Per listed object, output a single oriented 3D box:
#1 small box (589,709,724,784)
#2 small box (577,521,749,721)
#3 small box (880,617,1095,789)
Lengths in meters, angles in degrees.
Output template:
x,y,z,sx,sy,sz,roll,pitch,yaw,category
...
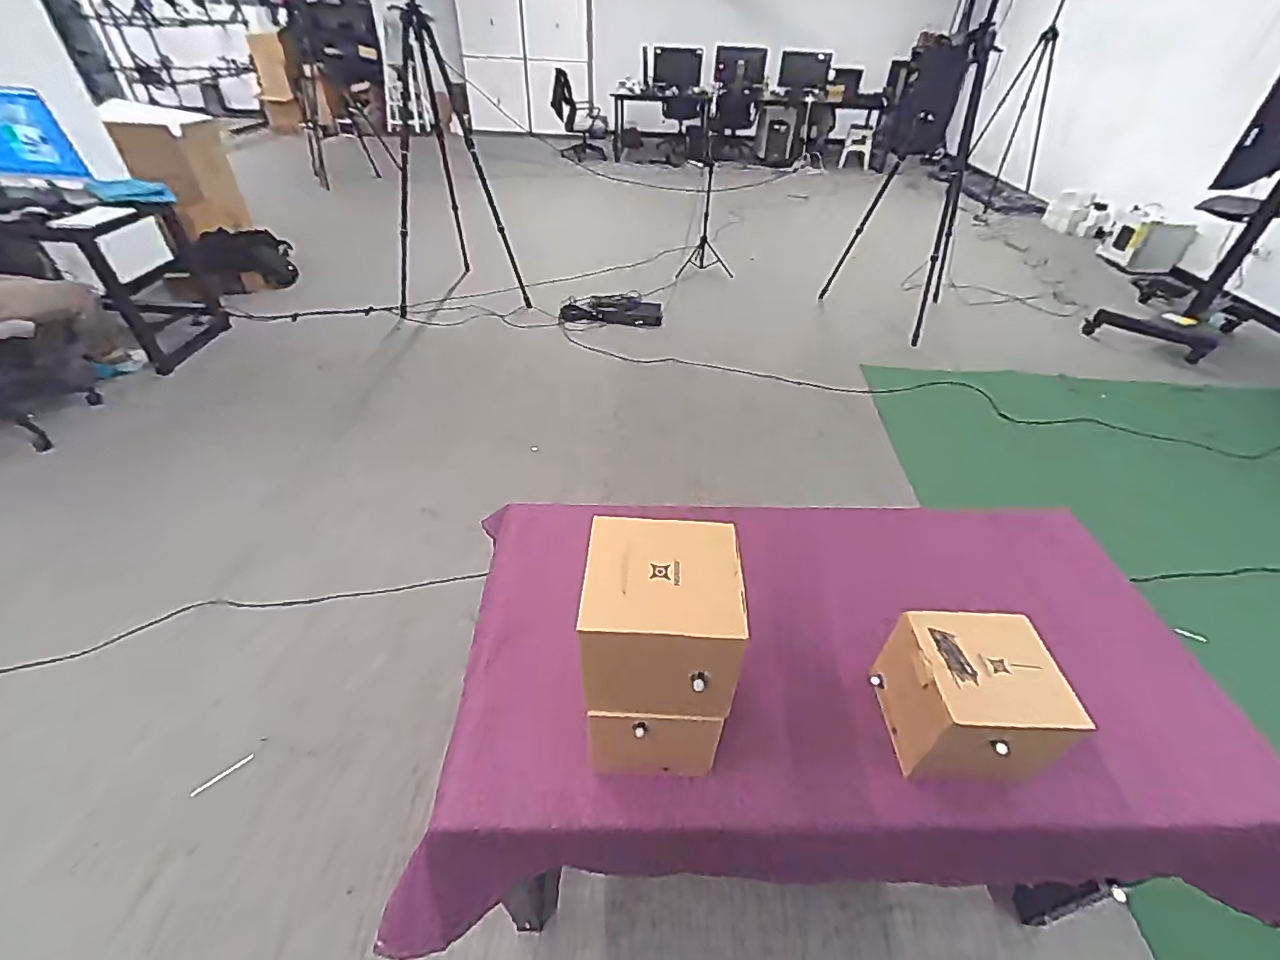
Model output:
x,y,z,sx,sy,sz,roll,pitch,yaw,category
0.021,0.295,0.756,0.168,0.176,0.179,2,40,1,small box
0.026,0.170,0.650,0.179,0.176,0.168,3,40,2,small box
0.457,0.311,0.753,0.179,0.176,0.168,2,40,0,small box
